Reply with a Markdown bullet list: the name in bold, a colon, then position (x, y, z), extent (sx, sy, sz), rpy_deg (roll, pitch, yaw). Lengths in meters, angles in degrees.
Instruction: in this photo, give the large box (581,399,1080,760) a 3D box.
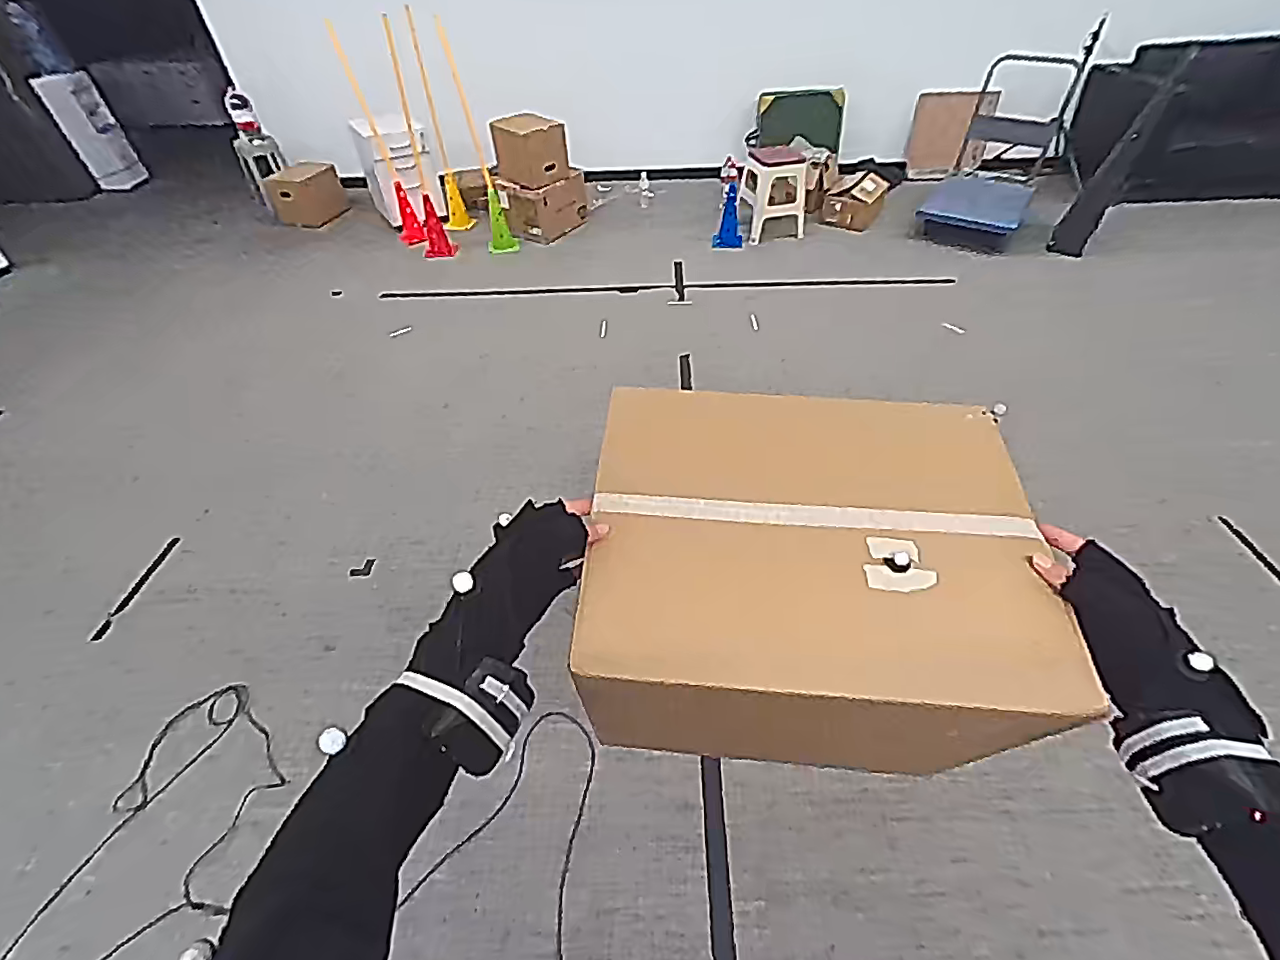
- **large box**: position (0.155, 0.126, 0.634), extent (0.408, 0.320, 0.320), rpy_deg (3, 55, 2)
